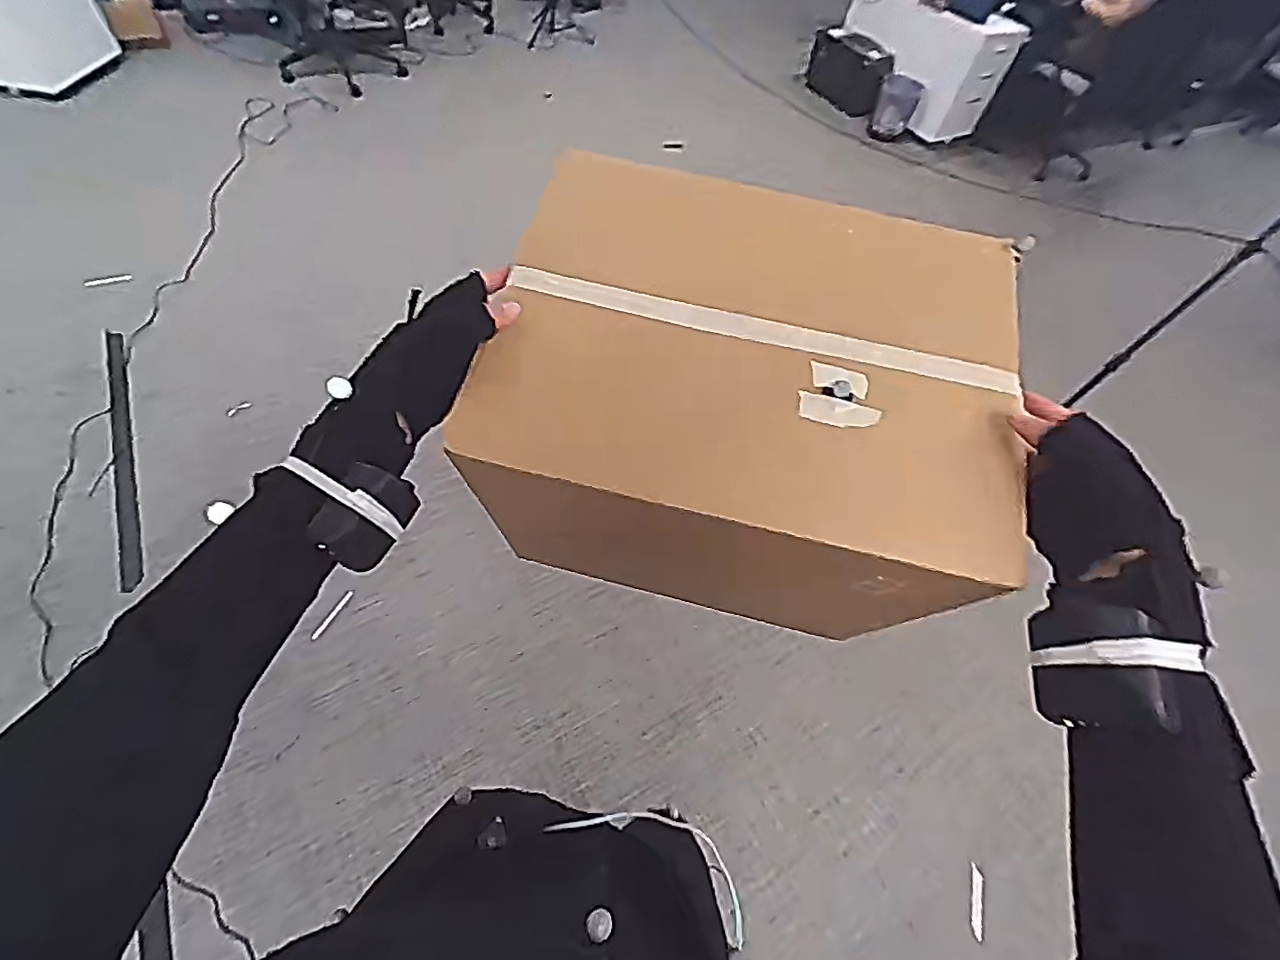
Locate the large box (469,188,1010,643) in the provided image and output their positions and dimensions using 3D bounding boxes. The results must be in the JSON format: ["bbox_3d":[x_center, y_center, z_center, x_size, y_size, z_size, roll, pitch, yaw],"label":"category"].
[{"bbox_3d":[0.091,-0.039,0.578,0.408,0.320,0.320,14,68,3],"label":"large box"}]
